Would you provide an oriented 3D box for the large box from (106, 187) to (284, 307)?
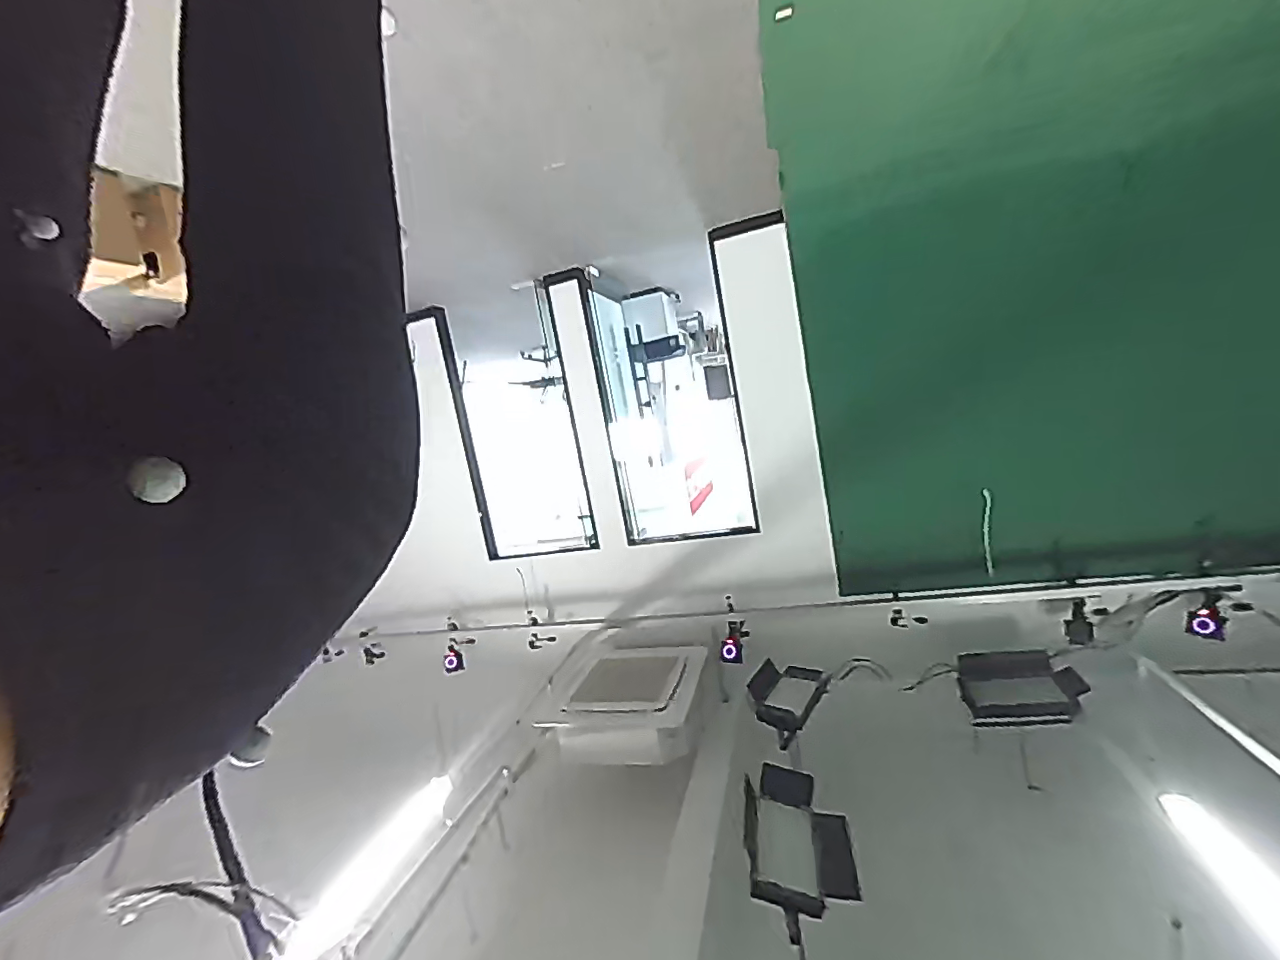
[{"bbox_3d":[-1.735,-0.897,2.134,0.320,0.320,0.408,-8,-172,15],"label":"large box"}]
